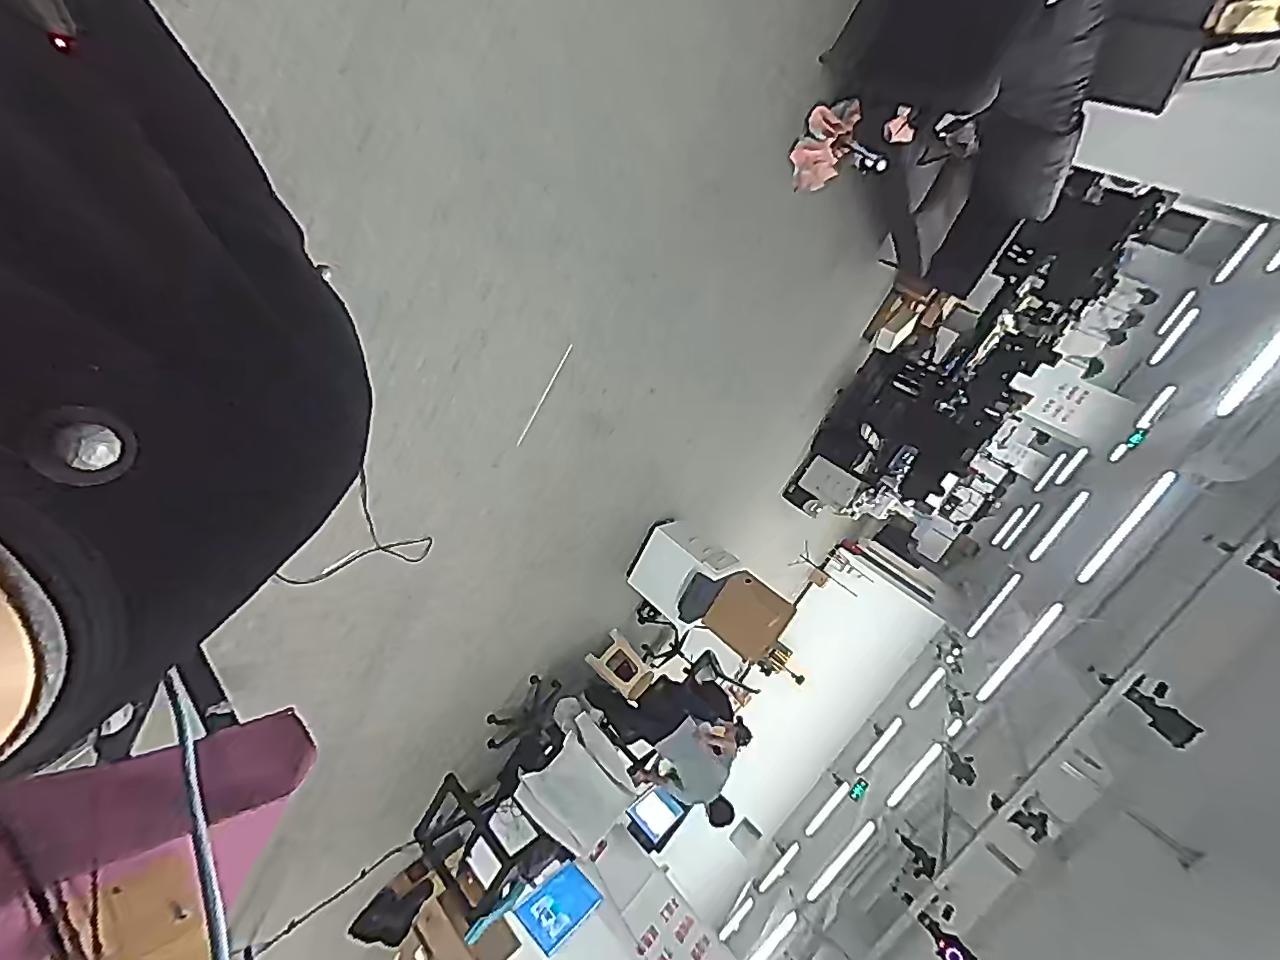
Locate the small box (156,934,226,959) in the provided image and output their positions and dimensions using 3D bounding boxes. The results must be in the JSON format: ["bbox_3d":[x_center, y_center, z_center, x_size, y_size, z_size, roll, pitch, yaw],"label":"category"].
[{"bbox_3d":[-0.852,0.975,0.968,0.168,0.176,0.179,3,122,-58],"label":"small box"}]
